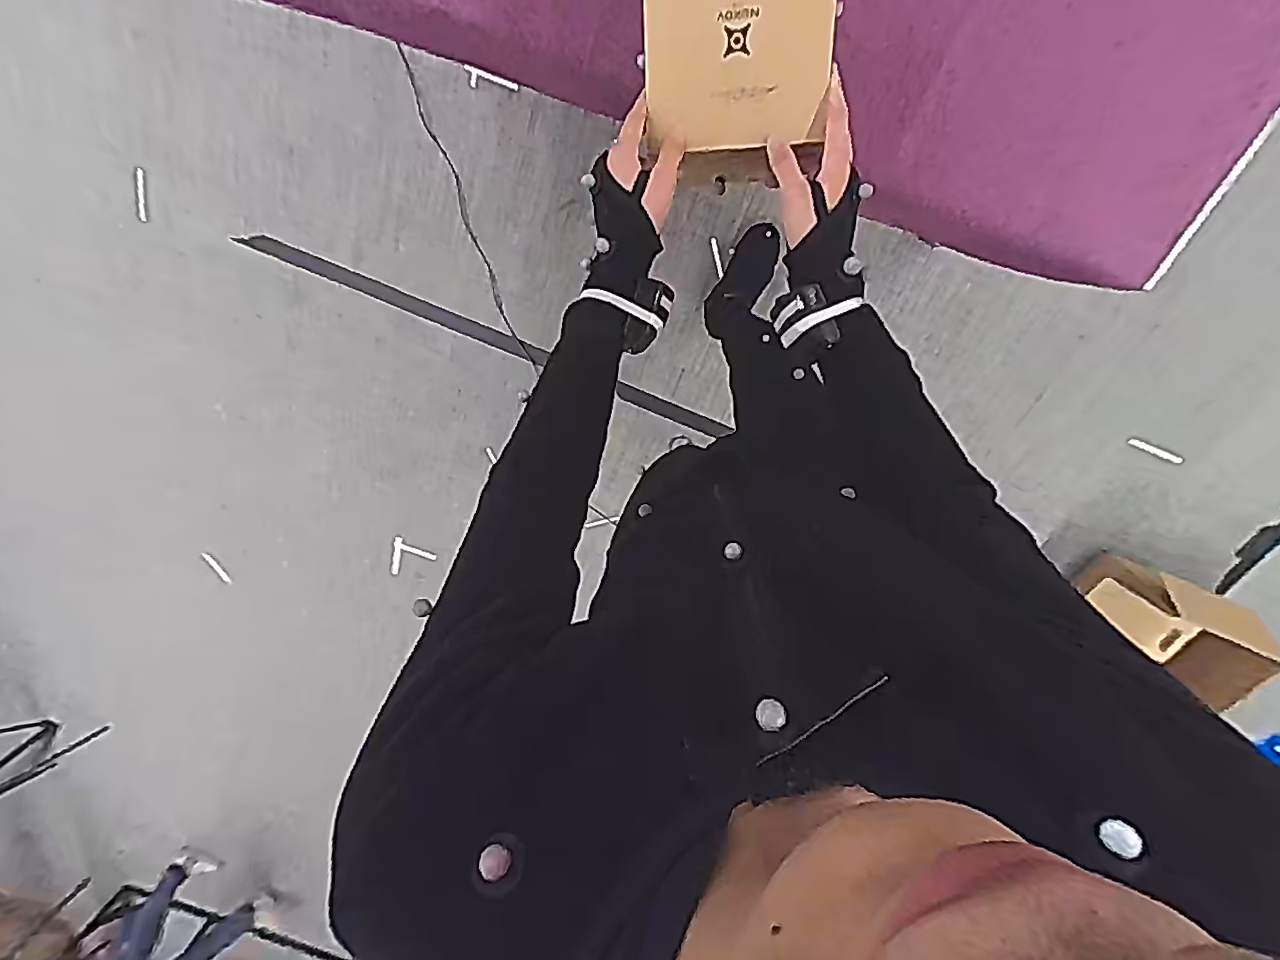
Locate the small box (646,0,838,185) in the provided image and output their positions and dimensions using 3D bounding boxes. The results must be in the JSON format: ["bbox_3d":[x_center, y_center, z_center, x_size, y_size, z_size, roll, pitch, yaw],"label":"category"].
[{"bbox_3d":[0.099,-0.417,0.548,0.168,0.176,0.179,2,108,10],"label":"small box"}]
